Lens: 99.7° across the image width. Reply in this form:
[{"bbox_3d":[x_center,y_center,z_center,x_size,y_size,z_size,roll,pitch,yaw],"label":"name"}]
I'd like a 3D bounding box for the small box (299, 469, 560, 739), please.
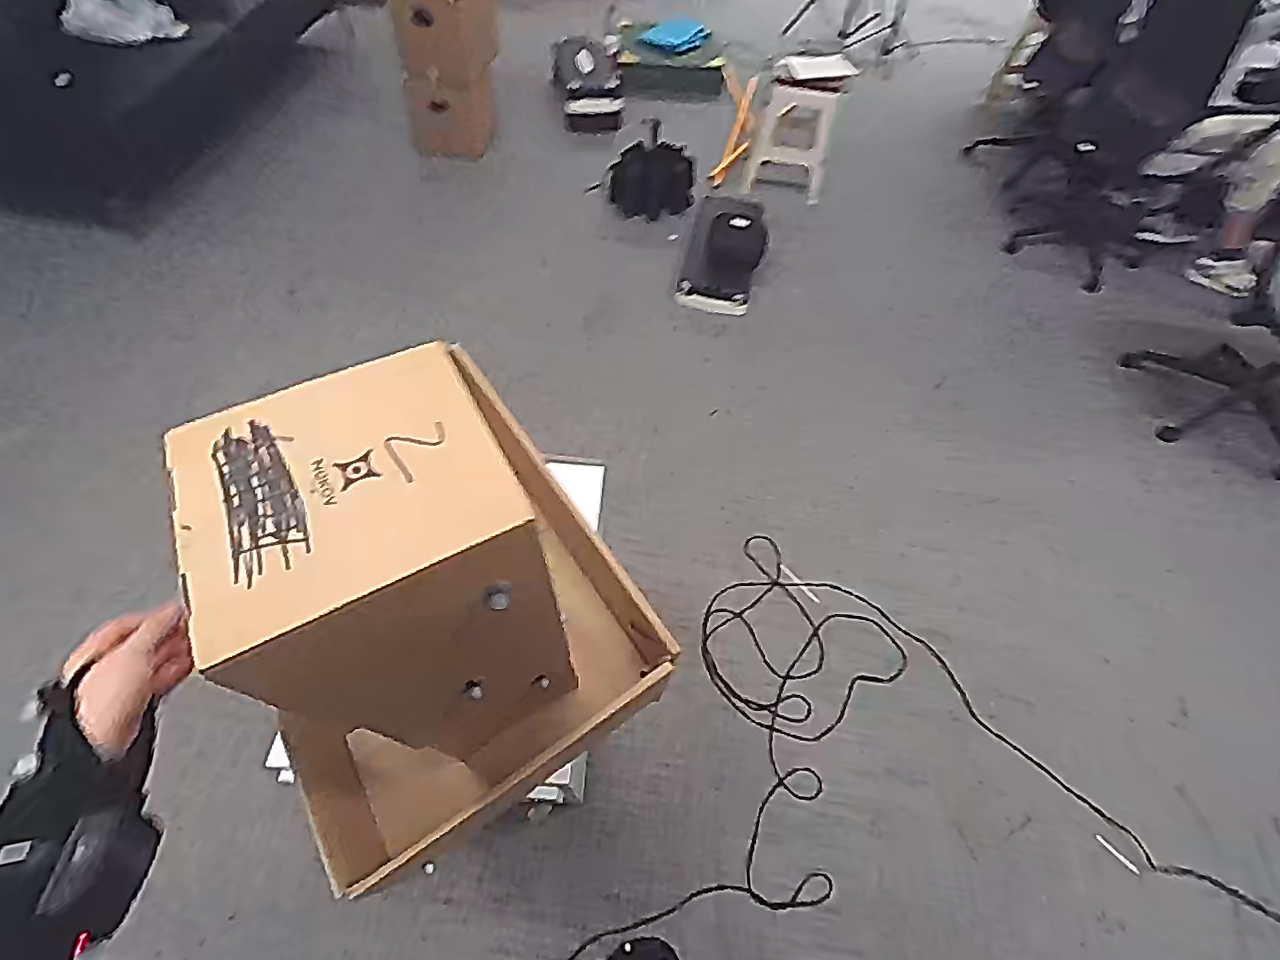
[{"bbox_3d":[-0.190,0.126,0.538,0.179,0.176,0.168,-29,61,-18],"label":"small box"}]

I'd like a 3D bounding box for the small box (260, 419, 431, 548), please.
[{"bbox_3d":[-0.381,0.054,0.771,0.168,0.176,0.179,-38,68,-24],"label":"small box"}]
